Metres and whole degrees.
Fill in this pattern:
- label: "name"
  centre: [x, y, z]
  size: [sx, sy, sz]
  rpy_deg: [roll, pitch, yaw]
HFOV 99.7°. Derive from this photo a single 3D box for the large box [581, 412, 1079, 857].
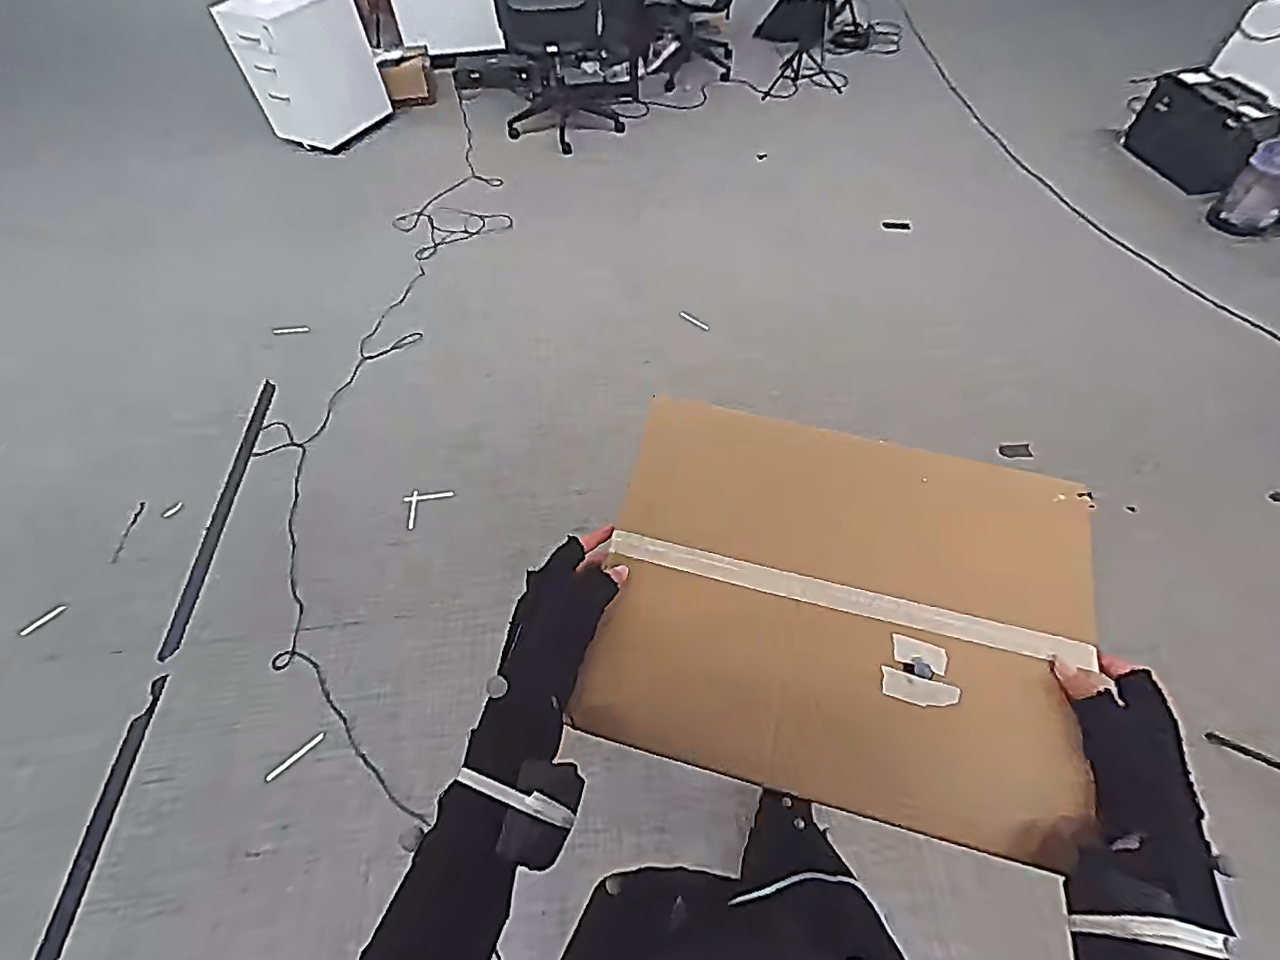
- label: "large box"
  centre: [0.179, 0.161, 0.620]
  size: [0.408, 0.320, 0.320]
  rpy_deg: [13, 70, 7]
